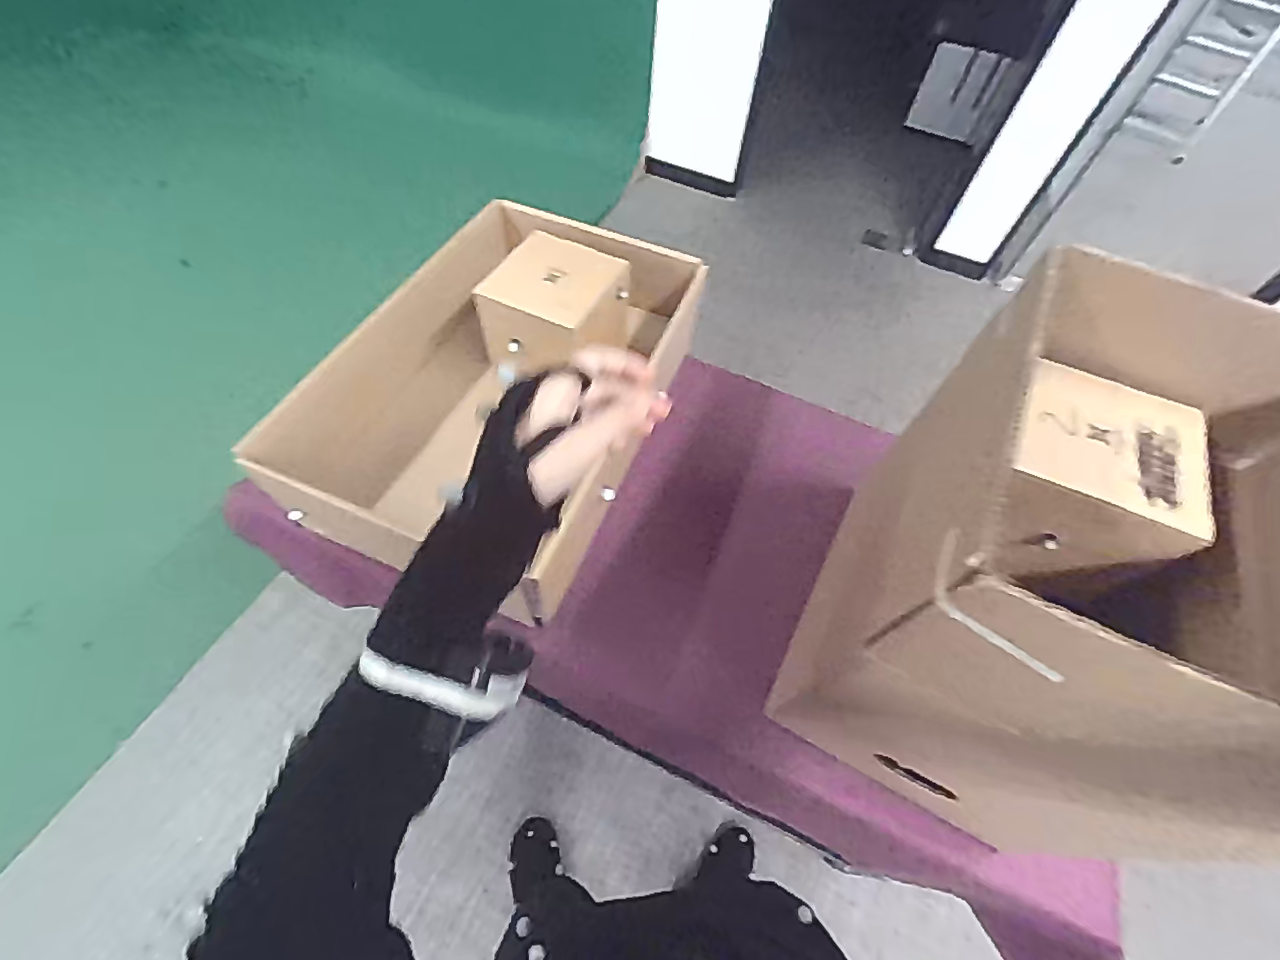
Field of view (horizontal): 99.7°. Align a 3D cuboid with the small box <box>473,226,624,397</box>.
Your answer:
[{"bbox_3d":[-0.133,-0.263,0.861,0.168,0.176,0.179,23,59,11],"label":"small box"}]
